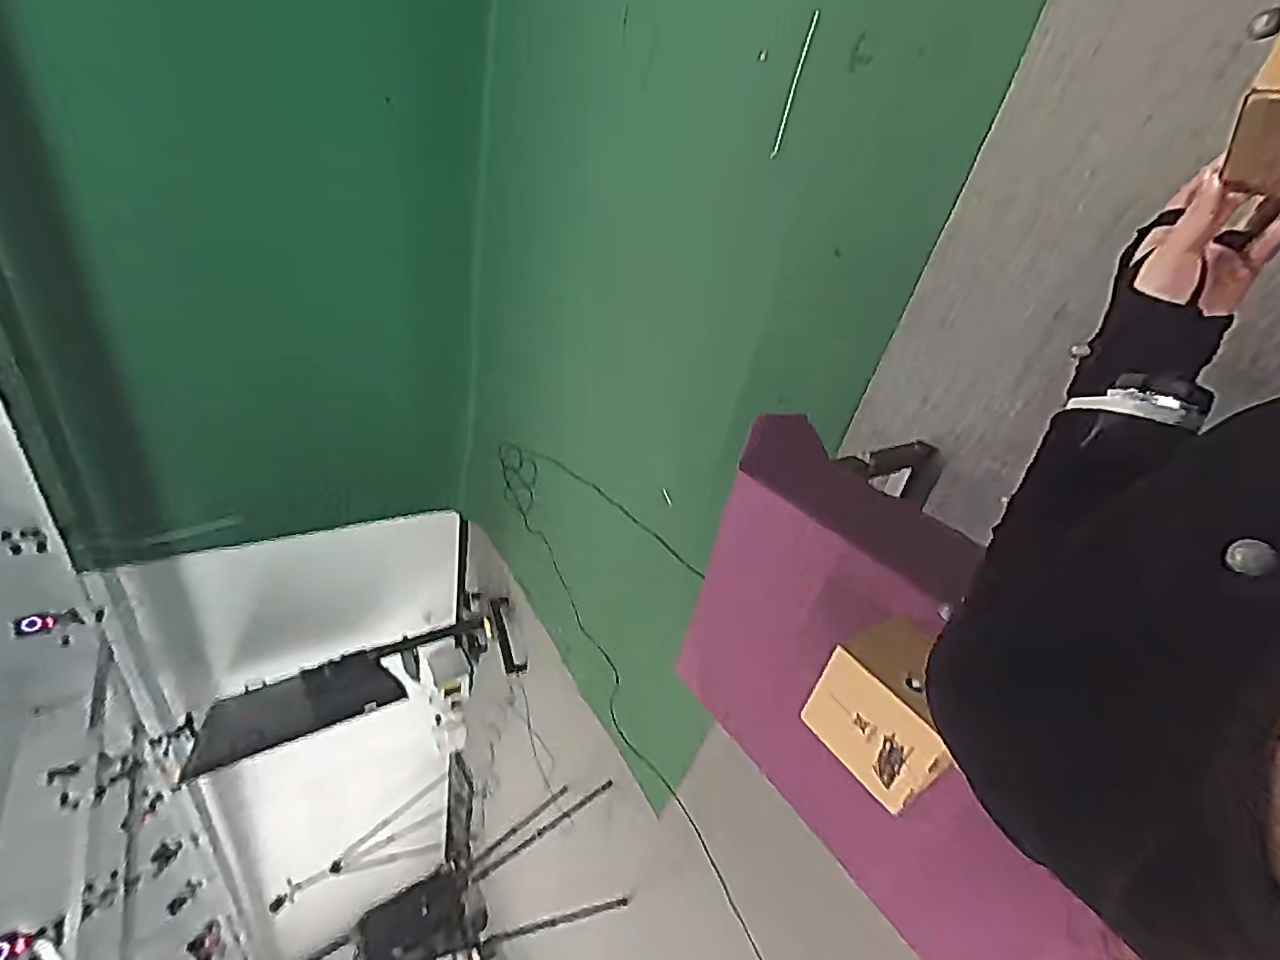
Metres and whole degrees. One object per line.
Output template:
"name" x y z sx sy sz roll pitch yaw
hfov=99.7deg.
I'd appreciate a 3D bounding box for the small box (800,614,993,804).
"small box" 0.385 0.332 0.817 0.179 0.176 0.168 43 131 41
